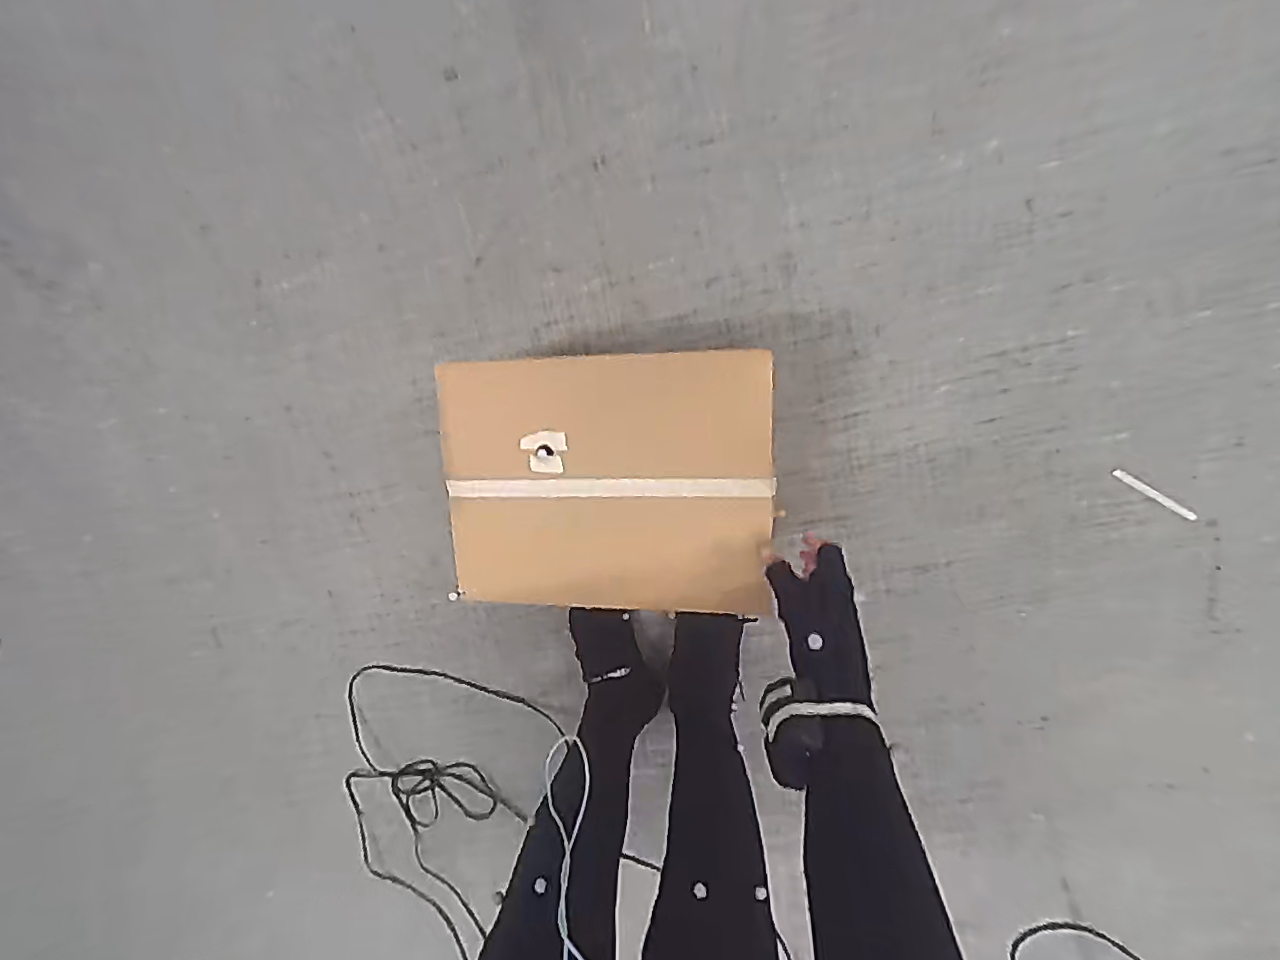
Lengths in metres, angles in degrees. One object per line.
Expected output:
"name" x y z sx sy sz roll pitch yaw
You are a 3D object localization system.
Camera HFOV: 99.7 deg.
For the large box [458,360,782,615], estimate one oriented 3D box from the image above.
"large box" 0.000 -0.010 0.817 0.408 0.320 0.320 -1 101 11
